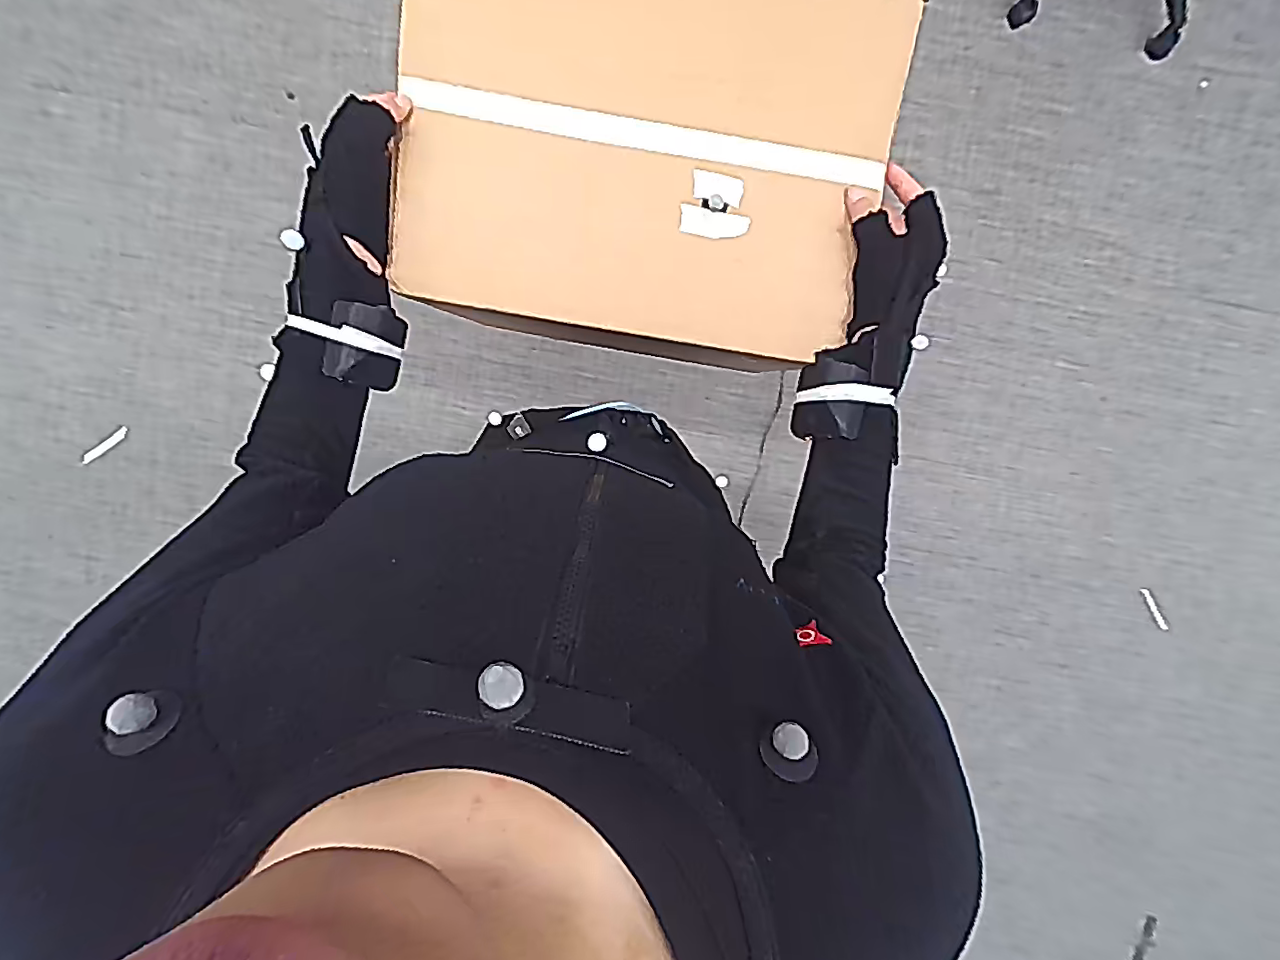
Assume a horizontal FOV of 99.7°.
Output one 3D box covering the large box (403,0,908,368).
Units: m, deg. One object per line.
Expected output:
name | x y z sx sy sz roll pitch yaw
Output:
large box | 0.001 -0.313 0.610 0.408 0.320 0.320 9 101 -3
